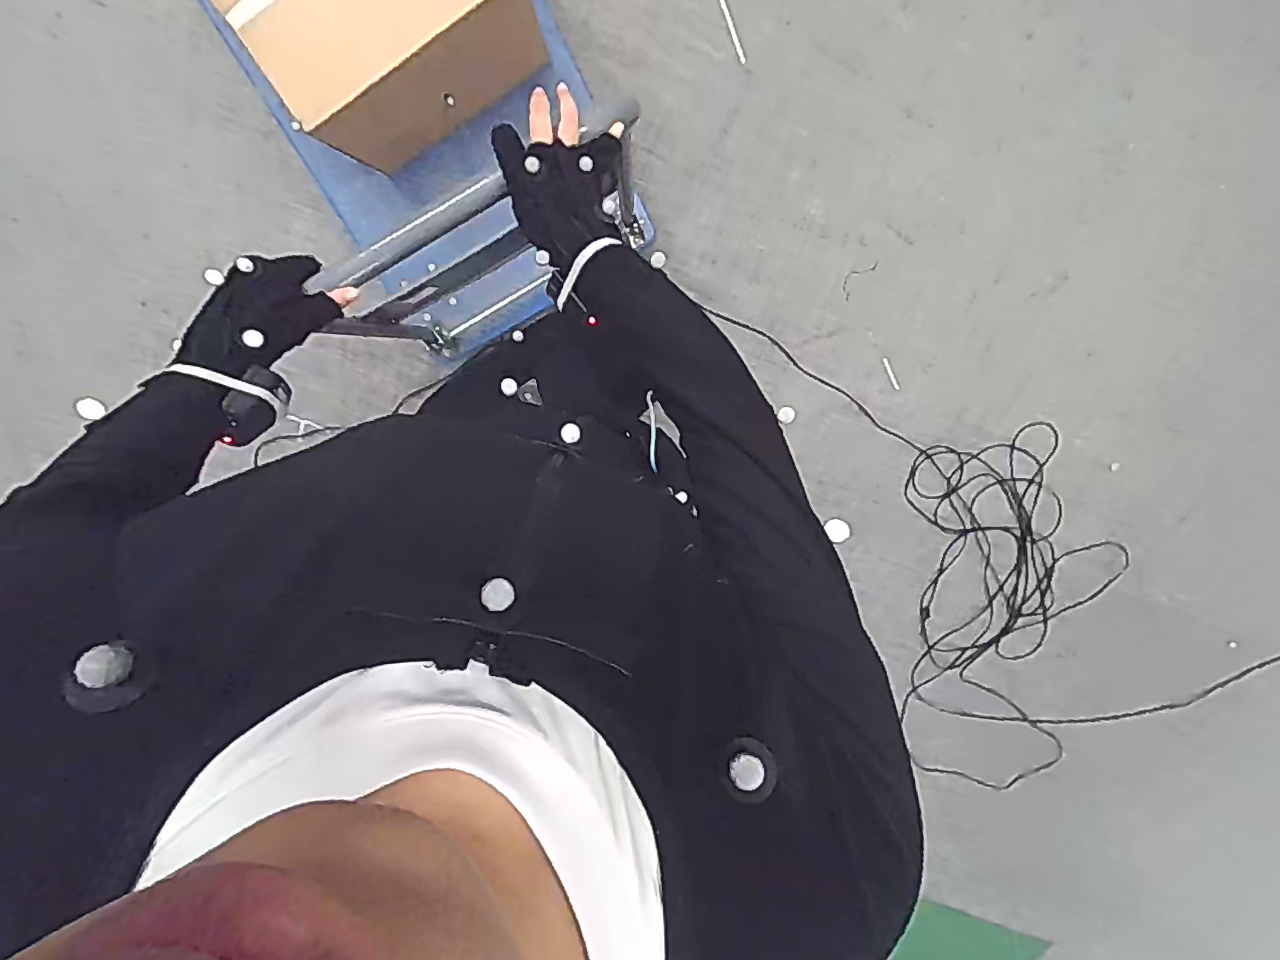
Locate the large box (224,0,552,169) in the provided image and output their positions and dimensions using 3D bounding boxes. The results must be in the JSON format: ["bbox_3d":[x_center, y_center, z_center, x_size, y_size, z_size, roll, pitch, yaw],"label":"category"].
[{"bbox_3d":[-0.411,-0.805,0.901,0.408,0.320,0.320,-29,106,9],"label":"large box"}]
